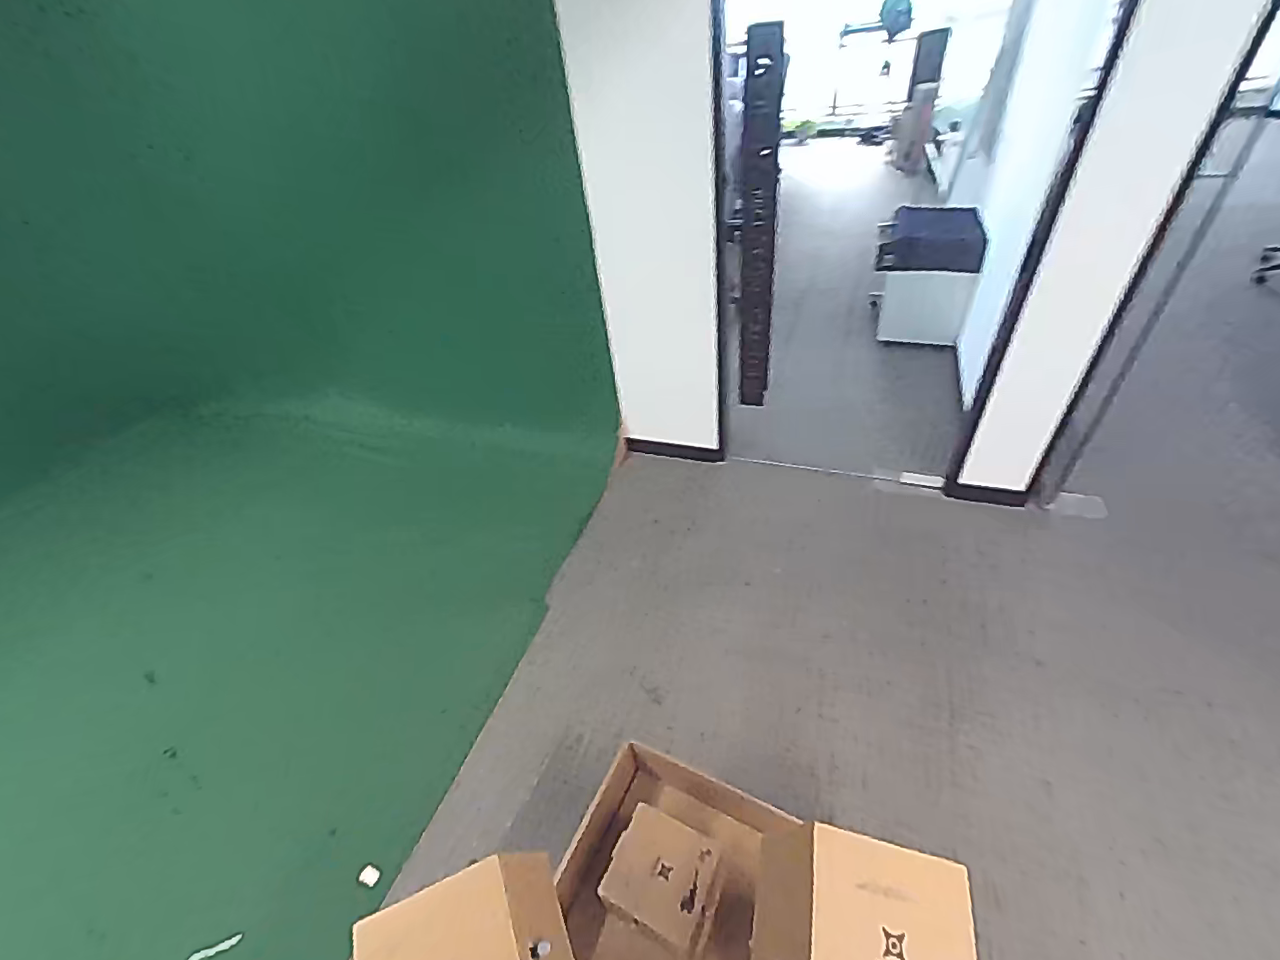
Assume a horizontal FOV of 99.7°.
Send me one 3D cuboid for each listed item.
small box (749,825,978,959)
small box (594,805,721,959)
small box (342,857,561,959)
[{"bbox_3d":[0.219,0.487,0.558,0.168,0.176,0.179,17,51,1],"label":"small box"},{"bbox_3d":[0.040,0.751,0.999,0.179,0.176,0.168,16,45,26],"label":"small box"},{"bbox_3d":[-0.187,0.537,0.577,0.168,0.176,0.179,-23,56,-7],"label":"small box"}]
